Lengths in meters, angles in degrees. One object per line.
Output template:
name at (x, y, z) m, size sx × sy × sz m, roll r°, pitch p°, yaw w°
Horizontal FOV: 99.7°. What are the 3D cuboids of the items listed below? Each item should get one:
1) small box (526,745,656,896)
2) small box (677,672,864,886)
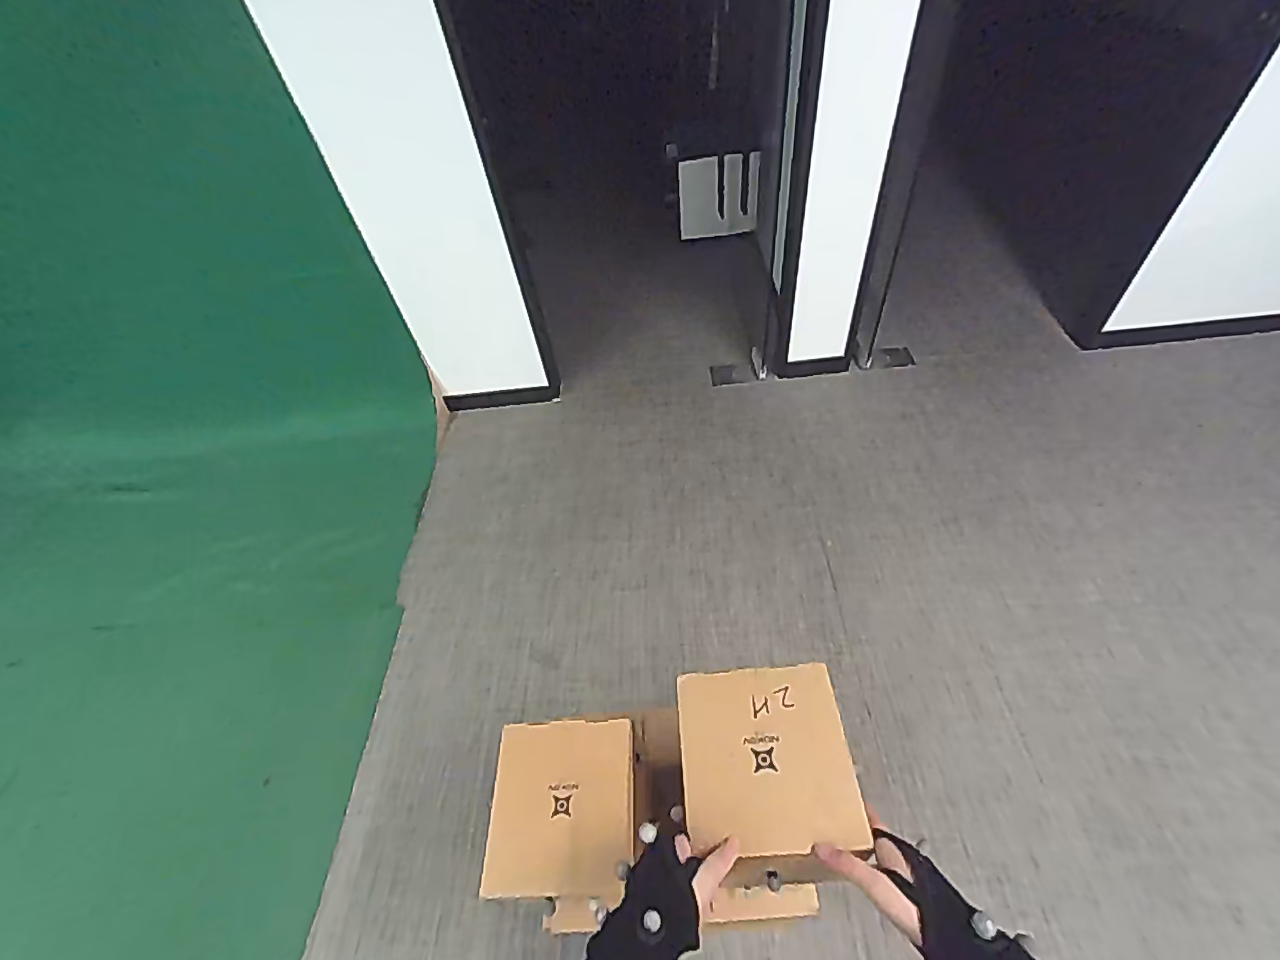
small box at (-0.063, 0.518, 0.820) m, size 0.168 × 0.176 × 0.179 m, roll -4°, pitch 52°, yaw 4°
small box at (0.135, 0.338, 0.604) m, size 0.168 × 0.176 × 0.179 m, roll -6°, pitch 45°, yaw 6°
